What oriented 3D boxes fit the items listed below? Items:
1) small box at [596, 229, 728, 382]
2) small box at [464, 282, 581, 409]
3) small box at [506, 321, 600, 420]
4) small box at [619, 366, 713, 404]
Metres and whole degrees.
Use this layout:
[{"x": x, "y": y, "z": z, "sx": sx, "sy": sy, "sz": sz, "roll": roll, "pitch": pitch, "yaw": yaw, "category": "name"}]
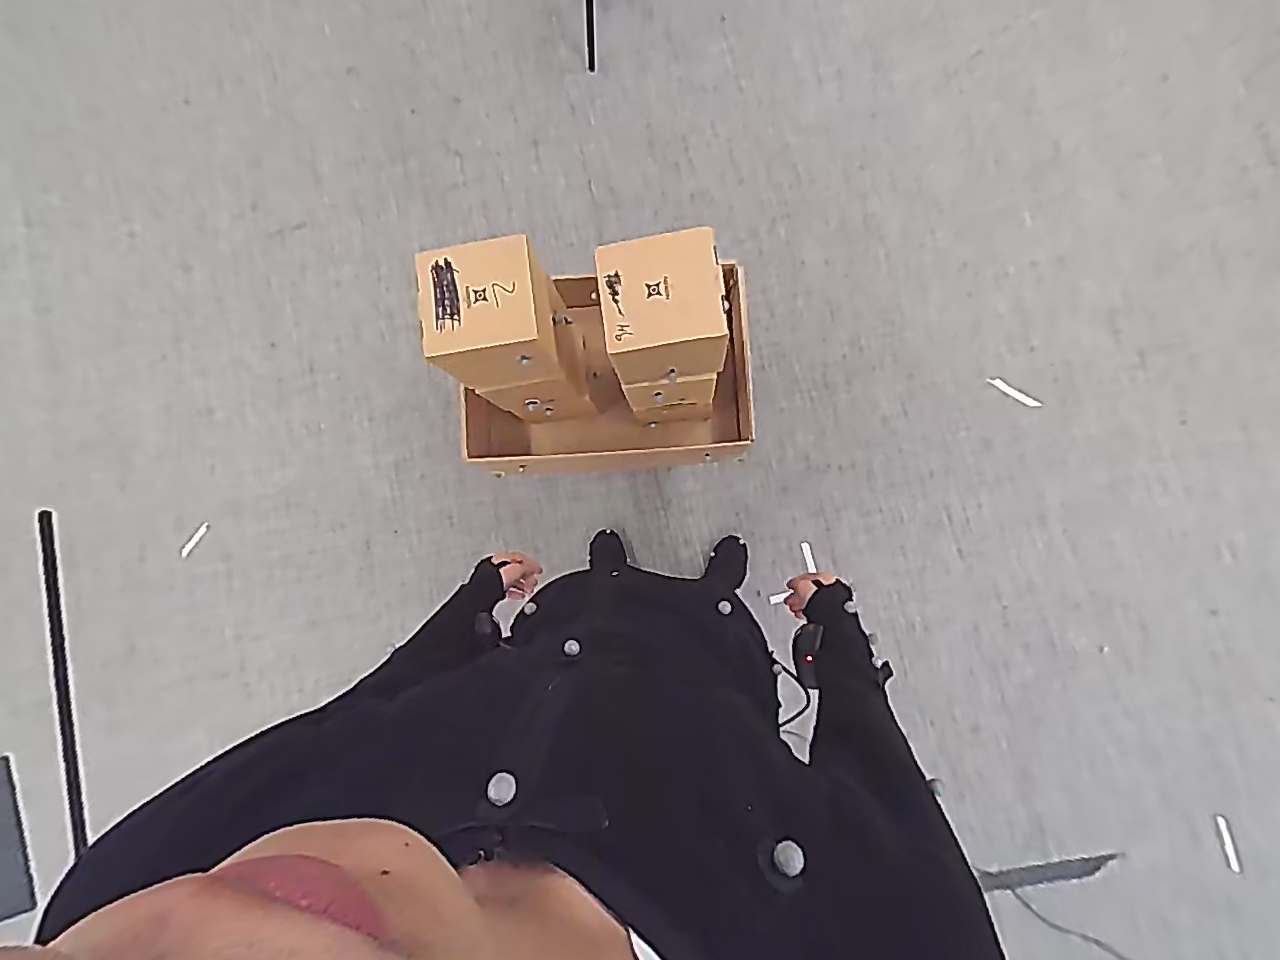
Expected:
[{"x": 0.035, "y": -0.263, "z": 0.850, "sx": 0.179, "sy": 0.176, "sz": 0.168, "roll": -7, "pitch": 84, "yaw": 4, "category": "small box"}, {"x": -0.217, "y": -0.248, "z": 1.033, "sx": 0.168, "sy": 0.176, "sz": 0.179, "roll": -9, "pitch": 84, "yaw": 6, "category": "small box"}, {"x": -0.194, "y": -0.234, "z": 1.195, "sx": 0.179, "sy": 0.176, "sz": 0.168, "roll": -7, "pitch": 85, "yaw": 4, "category": "small box"}, {"x": 0.047, "y": -0.246, "z": 1.013, "sx": 0.168, "sy": 0.176, "sz": 0.179, "roll": -6, "pitch": 84, "yaw": 4, "category": "small box"}]
